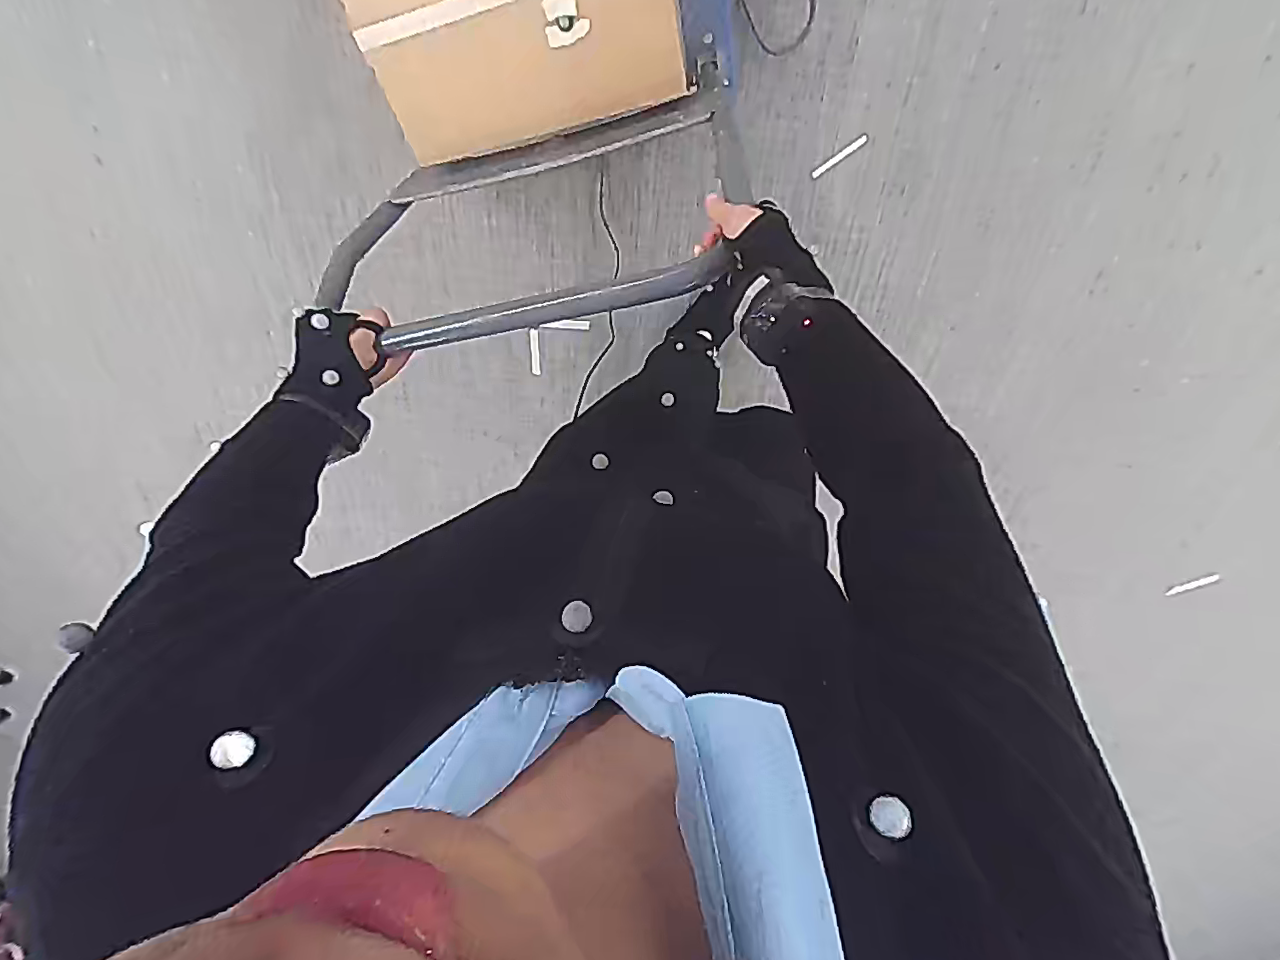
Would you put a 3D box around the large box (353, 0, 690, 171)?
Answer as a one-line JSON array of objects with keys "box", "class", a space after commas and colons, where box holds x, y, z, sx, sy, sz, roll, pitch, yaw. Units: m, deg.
[{"box": [-0.154, -0.701, 0.781, 0.408, 0.320, 0.320, -9, 132, 11], "class": "large box"}]
